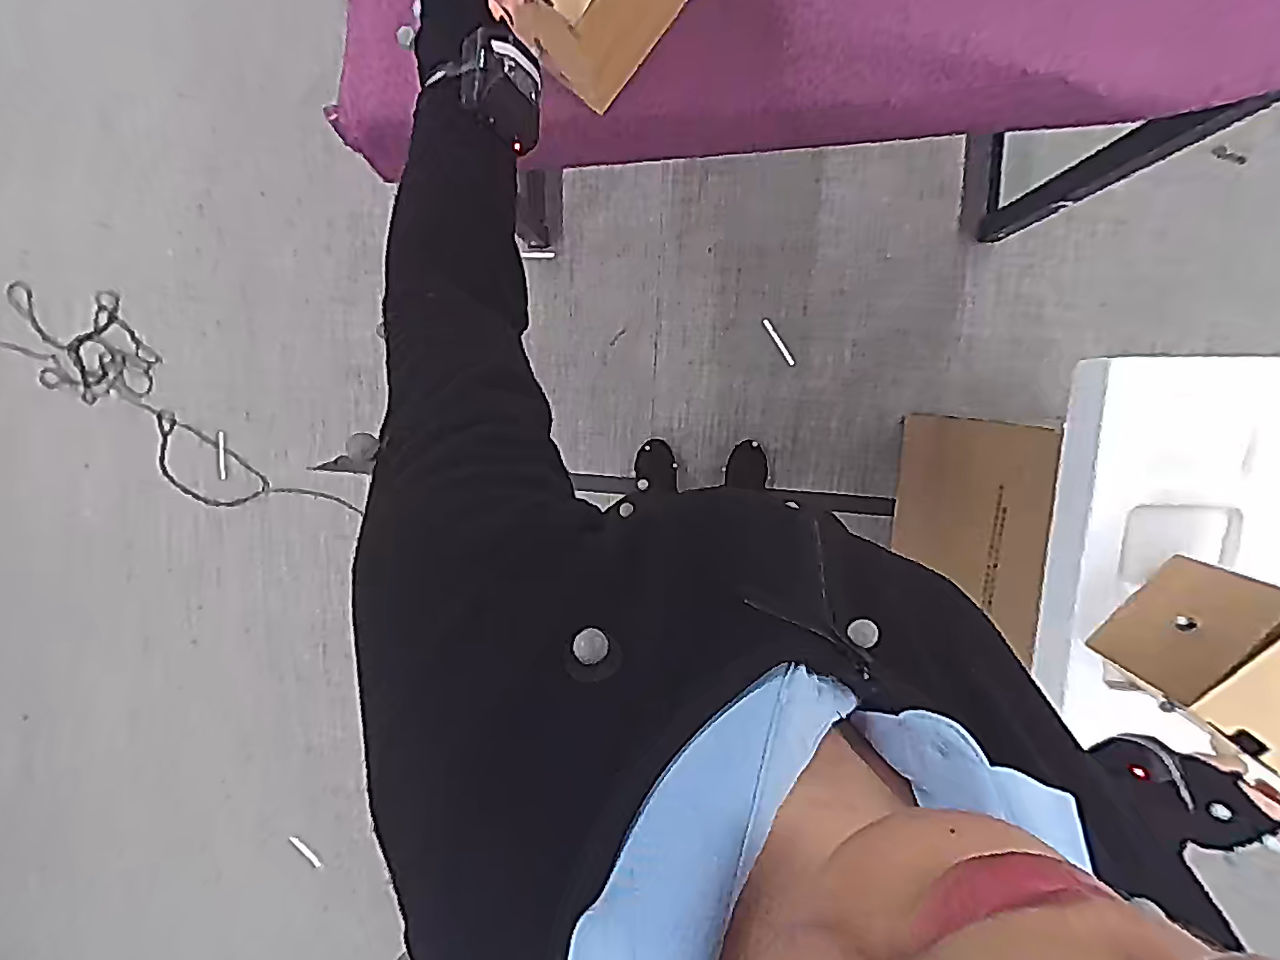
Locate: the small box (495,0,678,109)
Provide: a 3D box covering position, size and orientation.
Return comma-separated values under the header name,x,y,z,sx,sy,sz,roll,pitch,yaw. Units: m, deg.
name,x,y,z,sx,sy,sz,roll,pitch,yaw
small box,-0.064,-0.575,0.599,0.168,0.176,0.179,41,99,-1
